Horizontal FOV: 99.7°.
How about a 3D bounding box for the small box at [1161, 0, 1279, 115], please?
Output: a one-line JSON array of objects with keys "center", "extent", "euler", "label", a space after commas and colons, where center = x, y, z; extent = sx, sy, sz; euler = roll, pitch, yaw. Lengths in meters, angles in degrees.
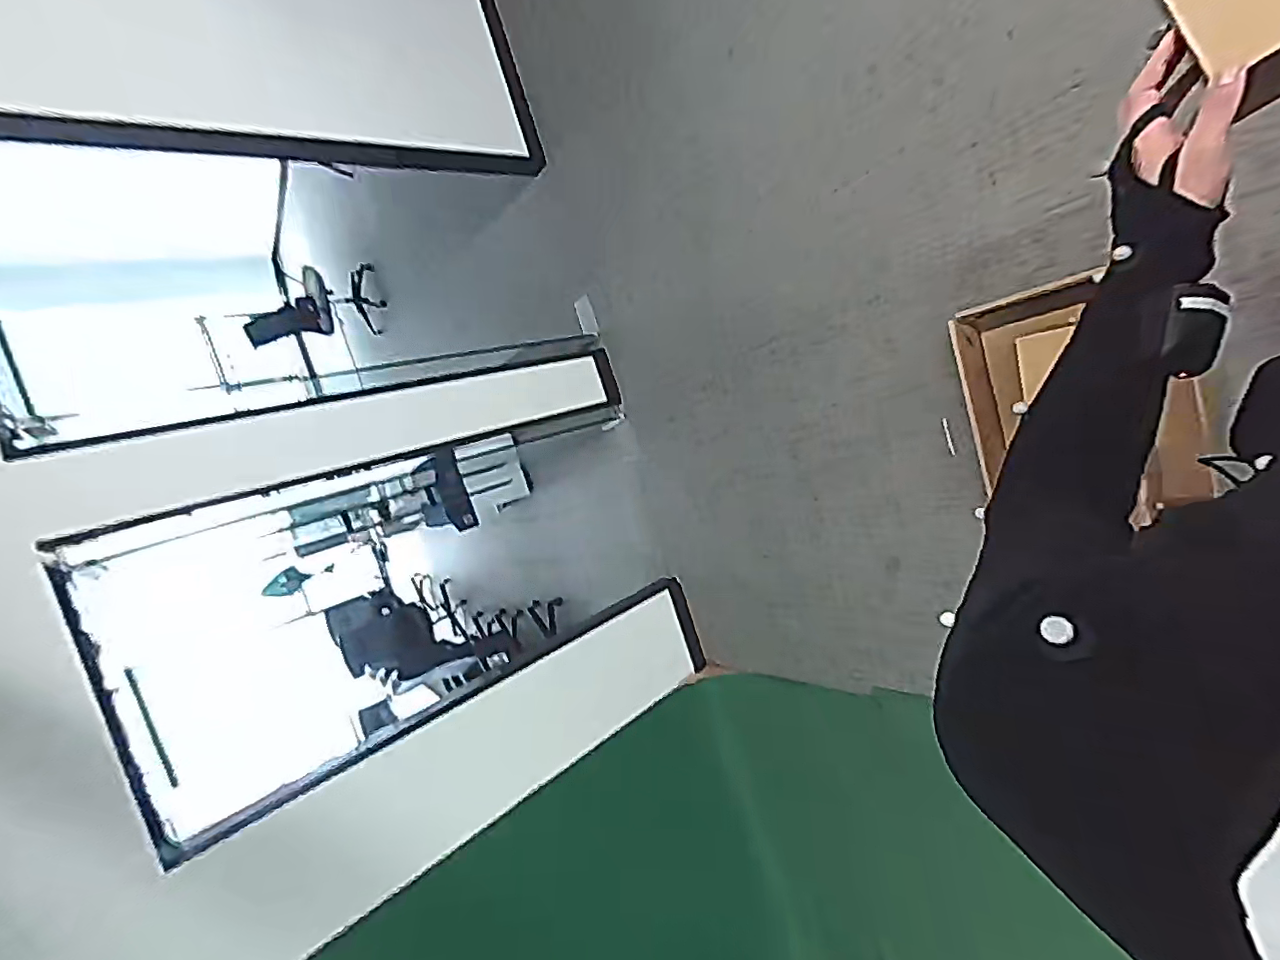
[{"center": [0.520, -0.422, 0.403], "extent": [0.179, 0.176, 0.168], "euler": [-27, 82, 50], "label": "small box"}]
